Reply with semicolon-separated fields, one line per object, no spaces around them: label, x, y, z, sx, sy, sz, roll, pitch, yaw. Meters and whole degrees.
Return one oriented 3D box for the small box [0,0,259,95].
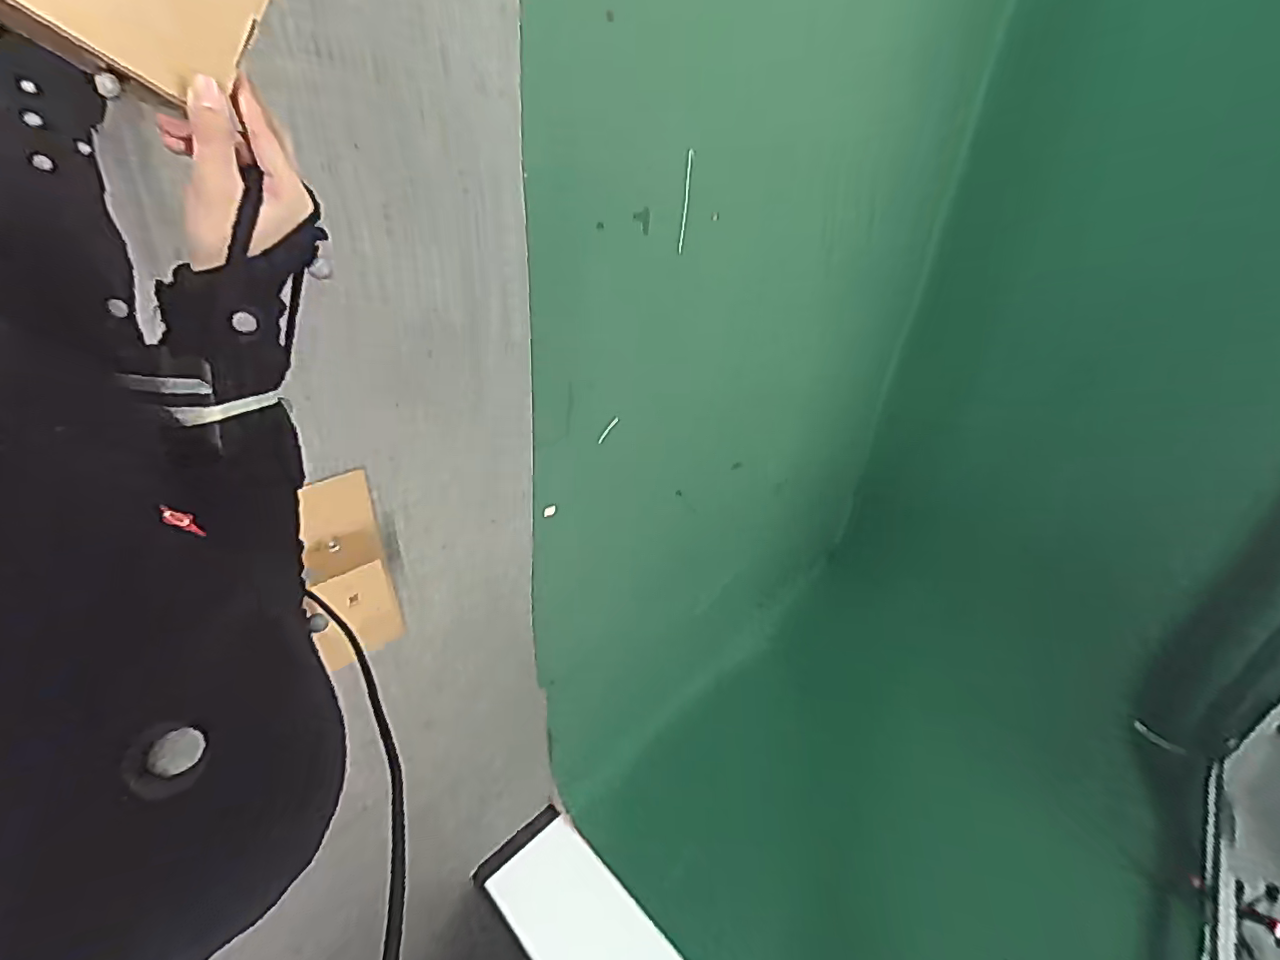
small box;-0.302;-0.328;0.261;0.179;0.176;0.168;13;105;-58

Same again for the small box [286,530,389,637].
small box;-0.774;0.260;1.389;0.168;0.176;0.179;-26;131;-40
